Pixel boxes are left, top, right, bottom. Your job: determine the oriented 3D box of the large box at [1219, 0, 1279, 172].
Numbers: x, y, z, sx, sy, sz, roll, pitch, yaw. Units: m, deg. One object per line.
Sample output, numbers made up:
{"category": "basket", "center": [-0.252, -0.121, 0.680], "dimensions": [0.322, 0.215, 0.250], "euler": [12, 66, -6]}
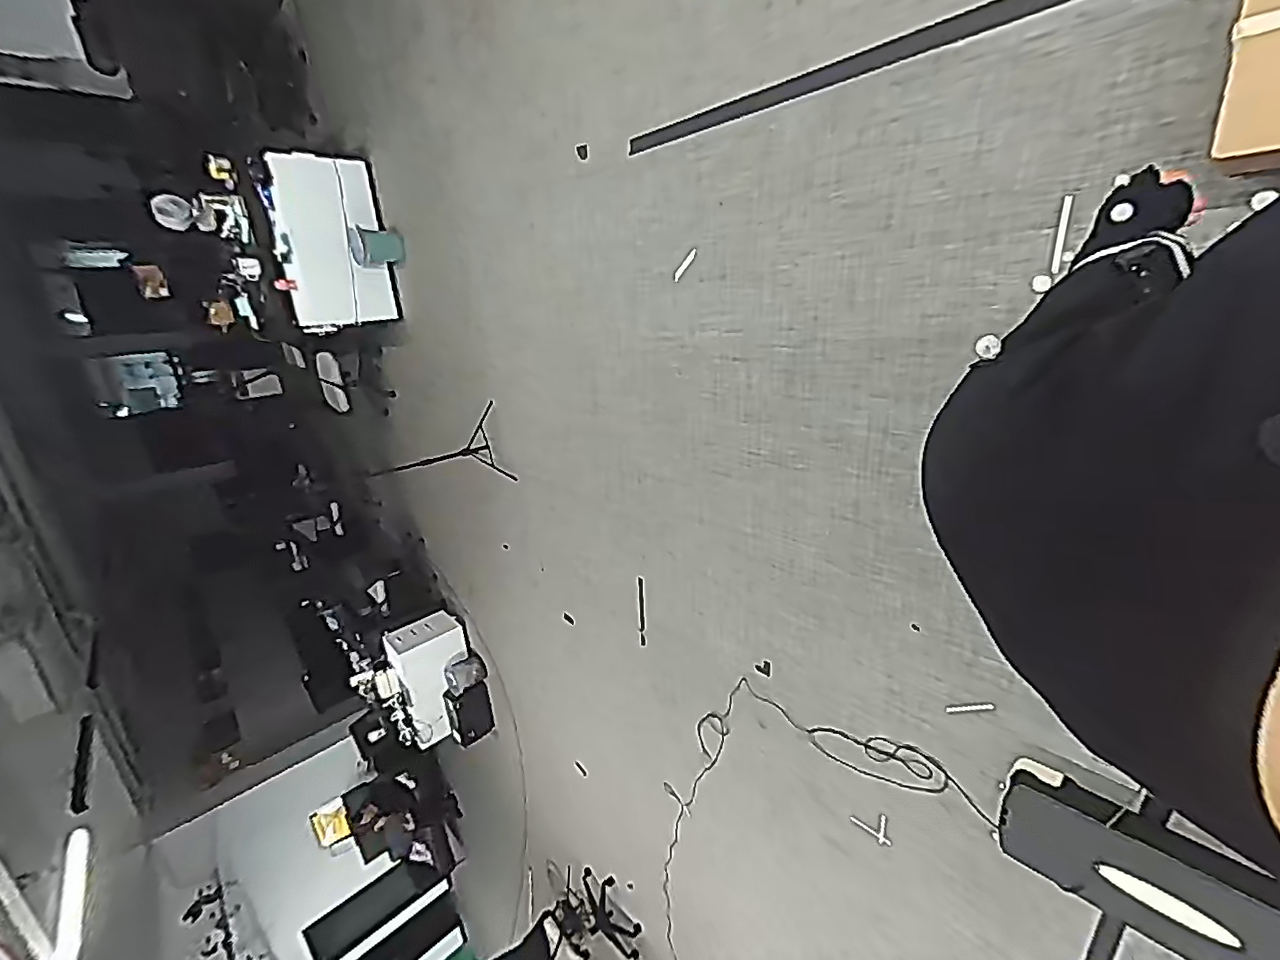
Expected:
{"category": "large box", "center": [1.048, -0.615, 0.677], "dimensions": [0.408, 0.320, 0.320], "euler": [14, 117, 45]}
